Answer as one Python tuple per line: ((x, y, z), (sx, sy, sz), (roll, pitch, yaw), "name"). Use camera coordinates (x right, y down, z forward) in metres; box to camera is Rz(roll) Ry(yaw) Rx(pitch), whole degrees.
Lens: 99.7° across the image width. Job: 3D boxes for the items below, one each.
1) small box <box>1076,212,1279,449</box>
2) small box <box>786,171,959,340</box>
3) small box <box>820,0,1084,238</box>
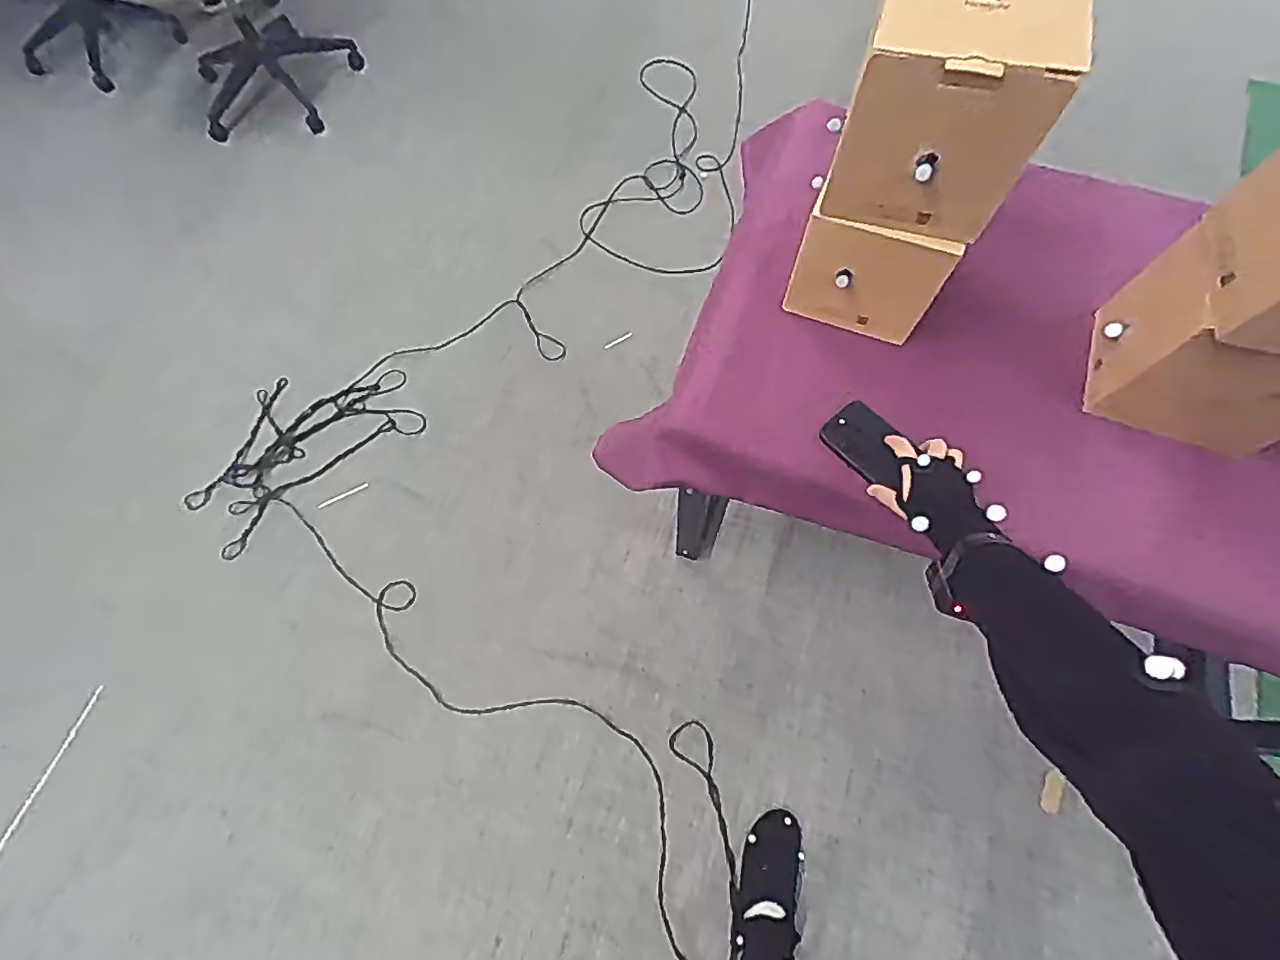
((0.646, -0.153, 0.602), (0.179, 0.176, 0.168), (21, 71, 11), "small box")
((0.296, -0.308, 0.683), (0.168, 0.176, 0.179), (22, 71, 11), "small box")
((0.290, -0.375, 0.533), (0.168, 0.176, 0.179), (17, 71, 9), "small box")
